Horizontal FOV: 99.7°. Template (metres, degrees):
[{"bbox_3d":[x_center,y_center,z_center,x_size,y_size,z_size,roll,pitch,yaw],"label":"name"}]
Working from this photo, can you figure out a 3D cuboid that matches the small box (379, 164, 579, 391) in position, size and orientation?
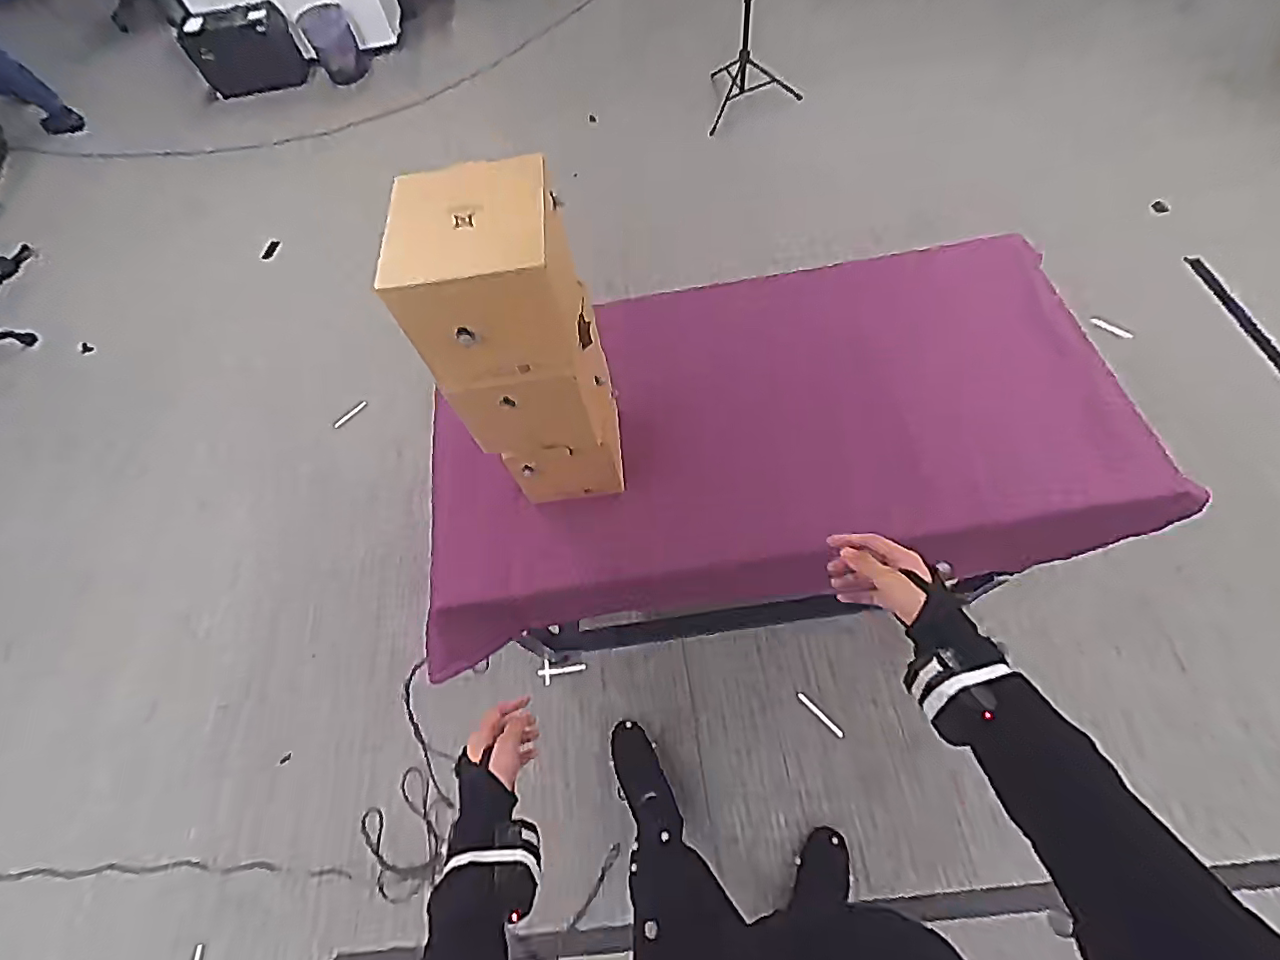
[{"bbox_3d":[-0.167,-0.217,0.617,0.168,0.176,0.179,-8,61,2],"label":"small box"}]

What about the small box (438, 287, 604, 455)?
[{"bbox_3d":[-0.153,-0.145,0.763,0.179,0.176,0.168,-2,63,5],"label":"small box"}]
